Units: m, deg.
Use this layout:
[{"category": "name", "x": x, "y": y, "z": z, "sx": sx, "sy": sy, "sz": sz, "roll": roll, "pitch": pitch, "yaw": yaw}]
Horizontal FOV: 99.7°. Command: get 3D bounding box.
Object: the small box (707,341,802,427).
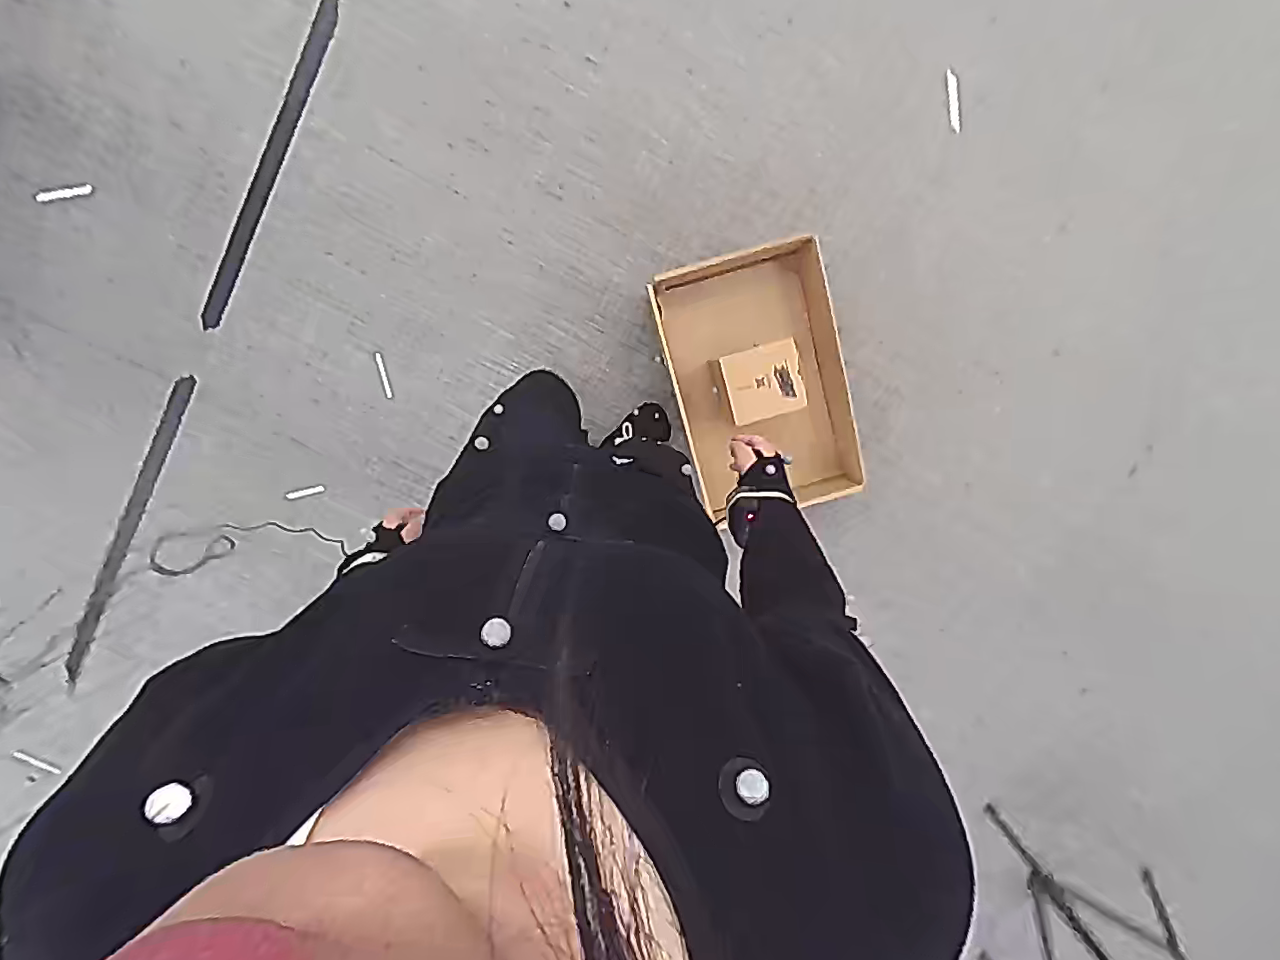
[{"category": "small box", "x": 0.276, "y": -0.239, "z": 1.329, "sx": 0.179, "sy": 0.176, "sz": 0.168, "roll": -15, "pitch": 101, "yaw": 2}]
